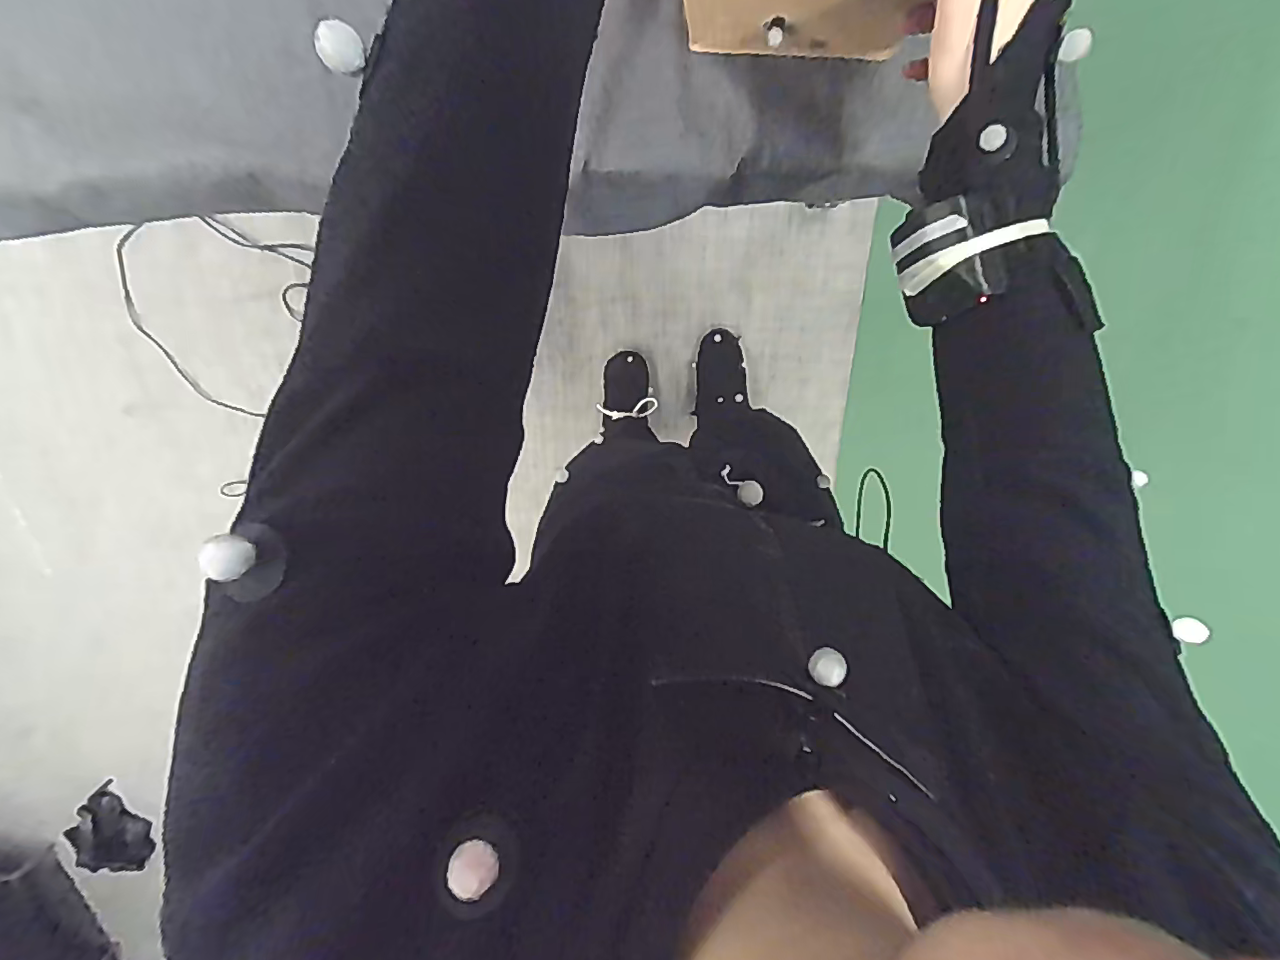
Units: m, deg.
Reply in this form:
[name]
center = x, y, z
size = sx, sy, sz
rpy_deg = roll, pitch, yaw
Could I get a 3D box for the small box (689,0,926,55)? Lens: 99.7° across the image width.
[small box]
center = 0.116, -0.403, 0.335
size = 0.168, 0.176, 0.179
rpy_deg = 7, 113, 6
